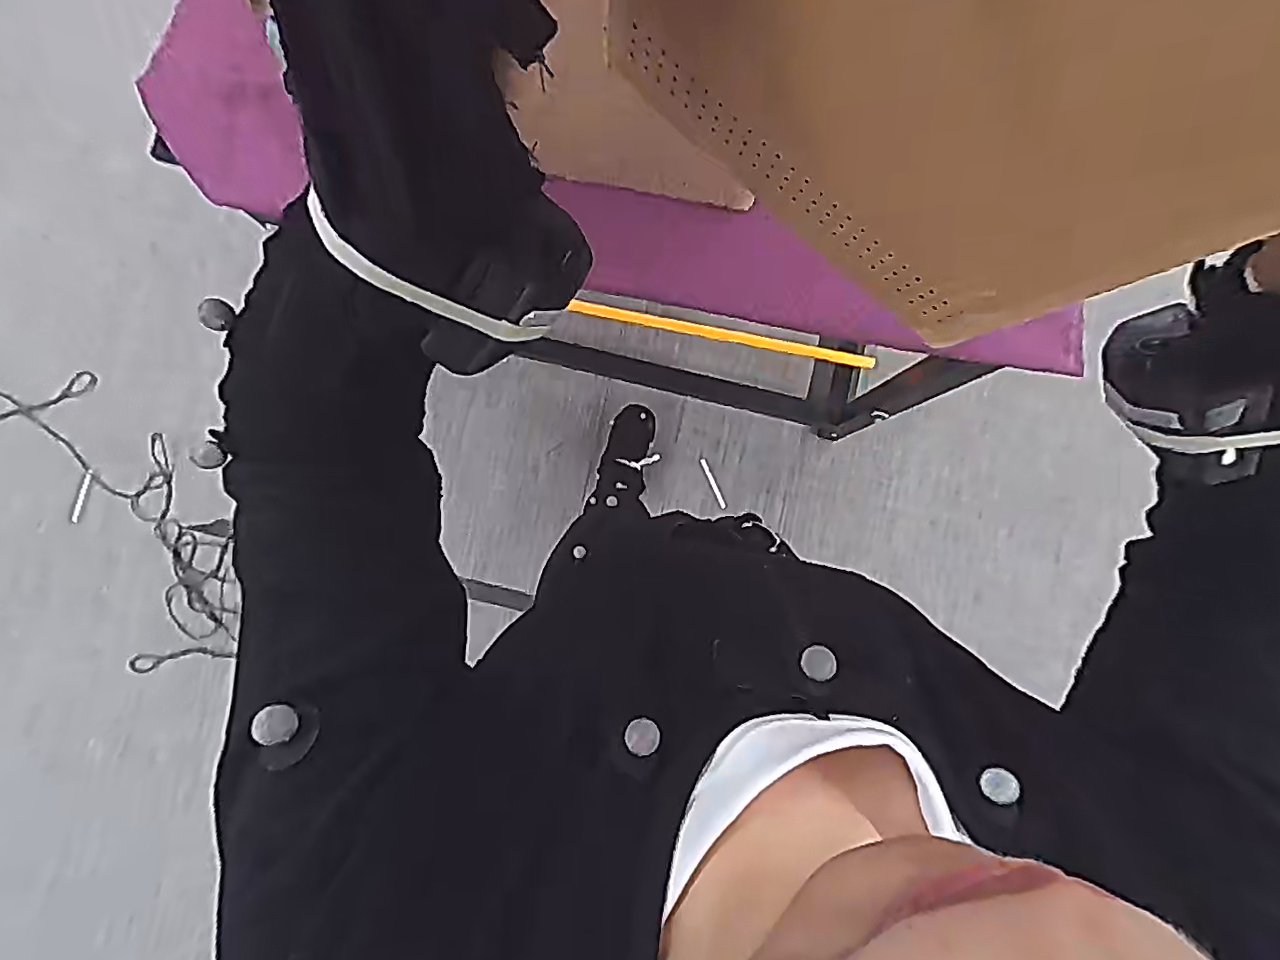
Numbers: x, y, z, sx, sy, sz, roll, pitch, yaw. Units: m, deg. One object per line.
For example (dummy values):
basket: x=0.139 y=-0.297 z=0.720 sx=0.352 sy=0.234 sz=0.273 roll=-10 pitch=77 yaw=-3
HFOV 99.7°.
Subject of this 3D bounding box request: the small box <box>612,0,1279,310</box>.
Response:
small box: x=0.107 y=-0.164 z=0.127 sx=0.179 sy=0.176 sz=0.168 roll=38 pitch=89 yaw=-3
